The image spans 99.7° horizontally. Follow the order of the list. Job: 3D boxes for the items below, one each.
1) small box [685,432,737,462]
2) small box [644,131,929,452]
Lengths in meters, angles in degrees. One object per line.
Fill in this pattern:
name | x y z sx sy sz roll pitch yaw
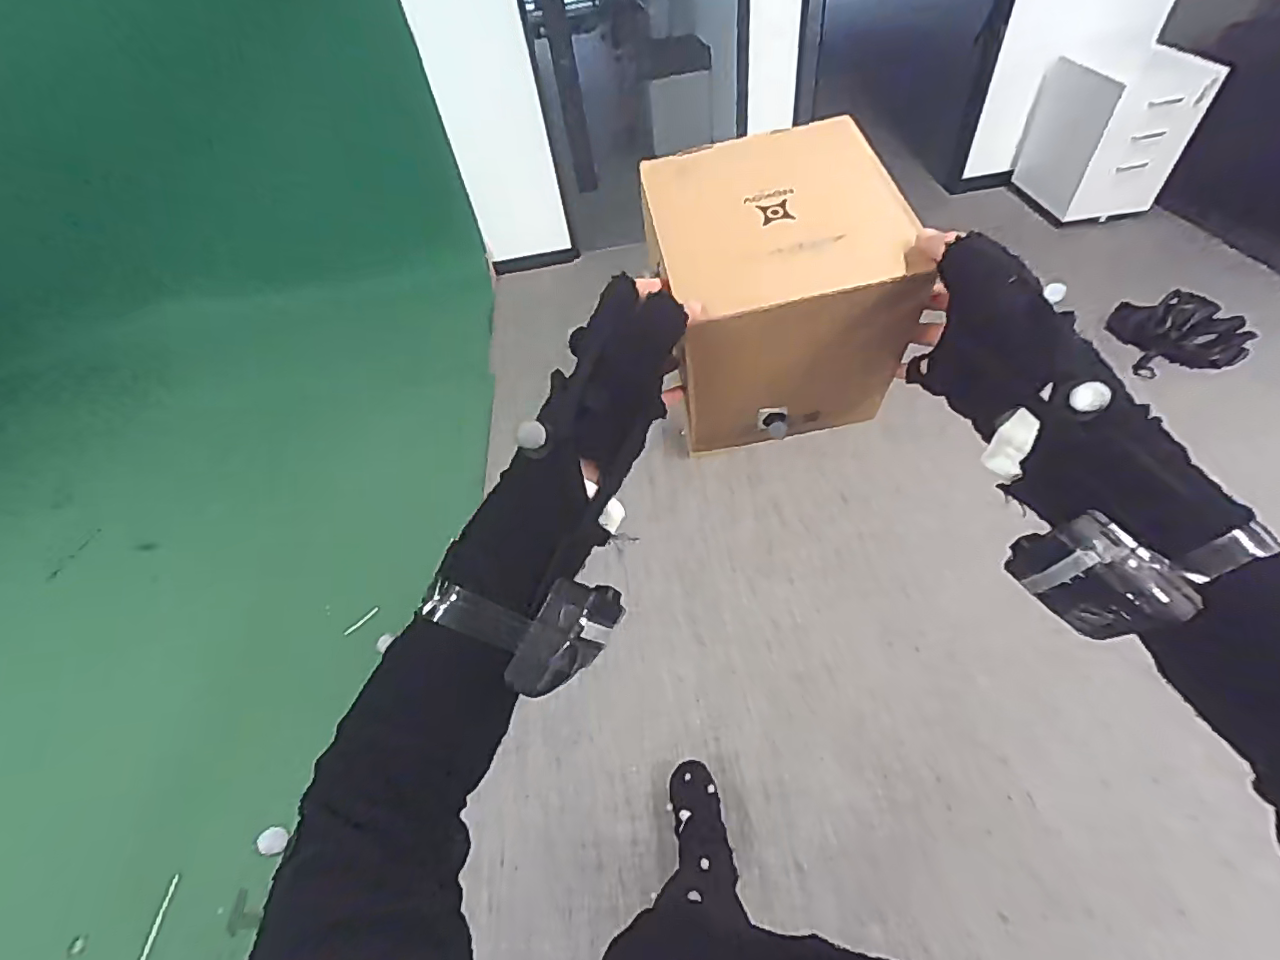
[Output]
small box | 0.255 -0.187 1.968 0.179 0.176 0.168 -9 48 4
small box | 0.102 -0.149 0.457 0.168 0.176 0.179 -11 61 2
